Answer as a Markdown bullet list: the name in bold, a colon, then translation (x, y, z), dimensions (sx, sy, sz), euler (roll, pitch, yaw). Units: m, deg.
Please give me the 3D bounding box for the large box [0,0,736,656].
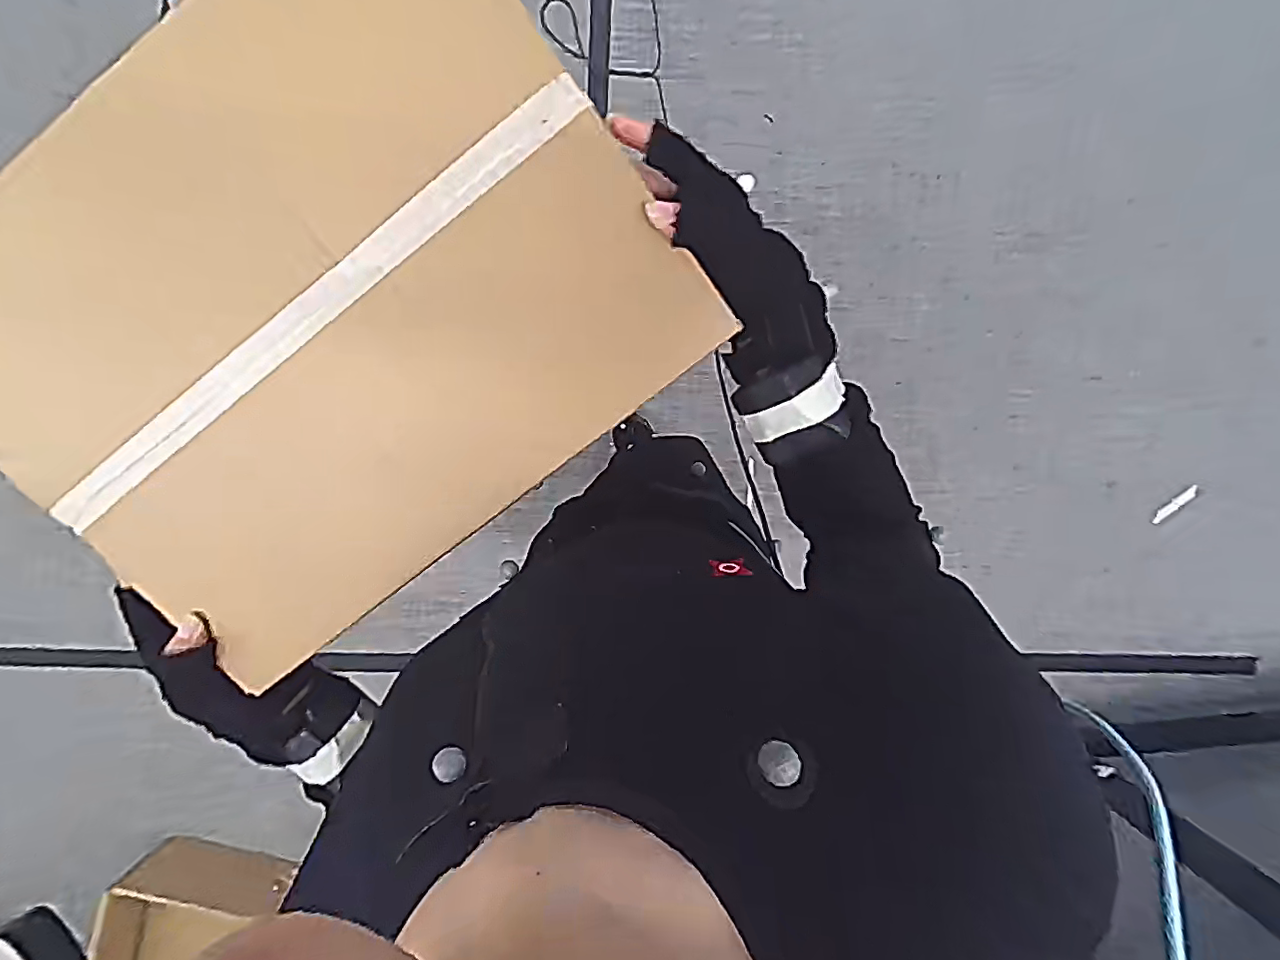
- **large box**: translation (-0.189, -0.138, 0.475), dimensions (0.408, 0.320, 0.320), euler (-36, 102, 5)
